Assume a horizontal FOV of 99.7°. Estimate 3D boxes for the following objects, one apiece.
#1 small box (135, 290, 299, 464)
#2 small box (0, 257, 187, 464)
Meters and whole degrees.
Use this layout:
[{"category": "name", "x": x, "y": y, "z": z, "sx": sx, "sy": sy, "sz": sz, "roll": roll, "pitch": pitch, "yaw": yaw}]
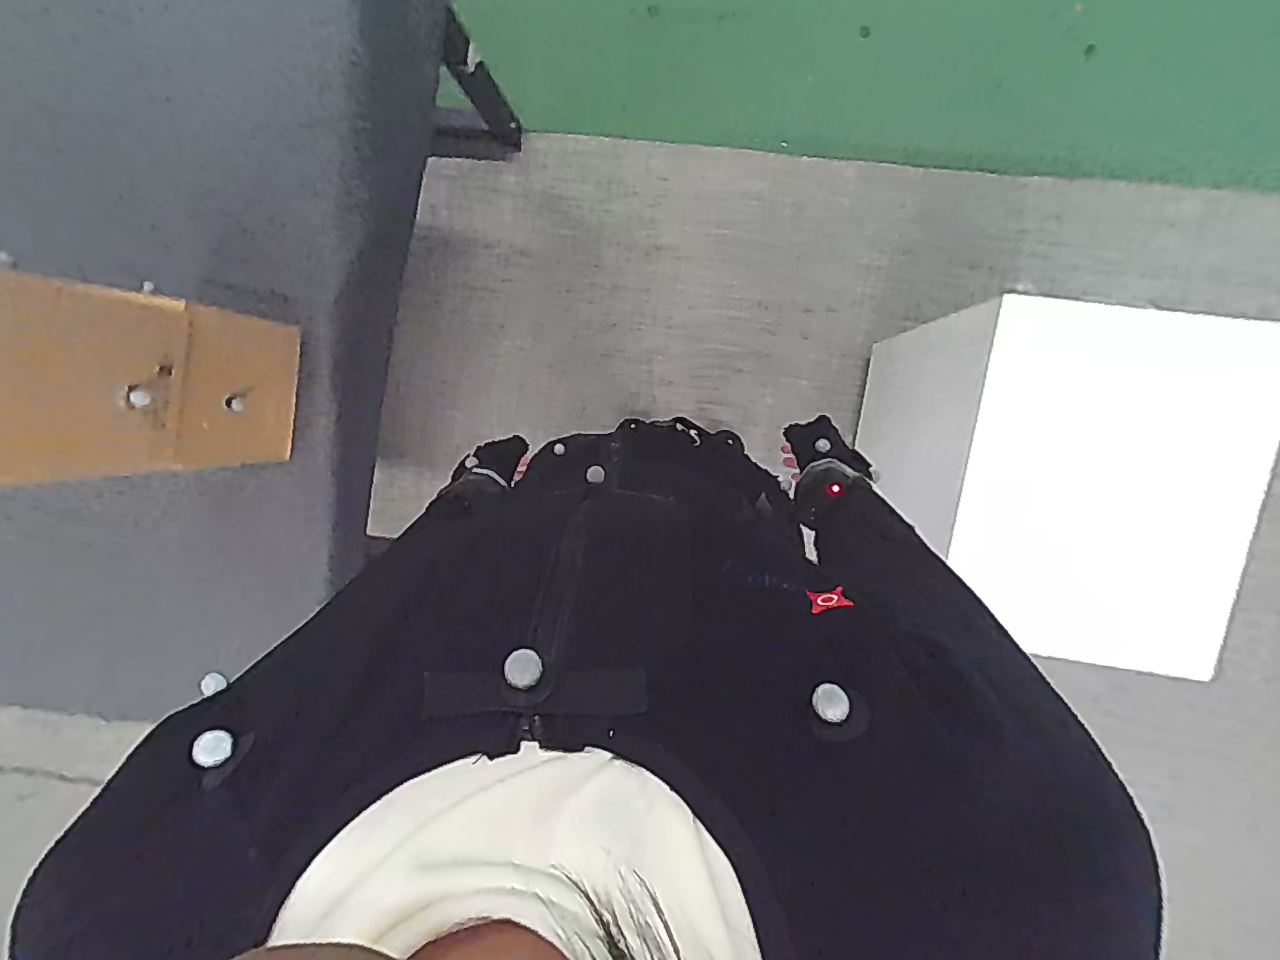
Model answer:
[{"category": "small box", "x": -0.545, "y": -0.125, "z": 0.649, "sx": 0.168, "sy": 0.176, "sz": 0.179, "roll": 11, "pitch": 98, "yaw": 5}, {"category": "small box", "x": -0.568, "y": -0.109, "z": 0.486, "sx": 0.179, "sy": 0.176, "sz": 0.168, "roll": 11, "pitch": 97, "yaw": 7}]
